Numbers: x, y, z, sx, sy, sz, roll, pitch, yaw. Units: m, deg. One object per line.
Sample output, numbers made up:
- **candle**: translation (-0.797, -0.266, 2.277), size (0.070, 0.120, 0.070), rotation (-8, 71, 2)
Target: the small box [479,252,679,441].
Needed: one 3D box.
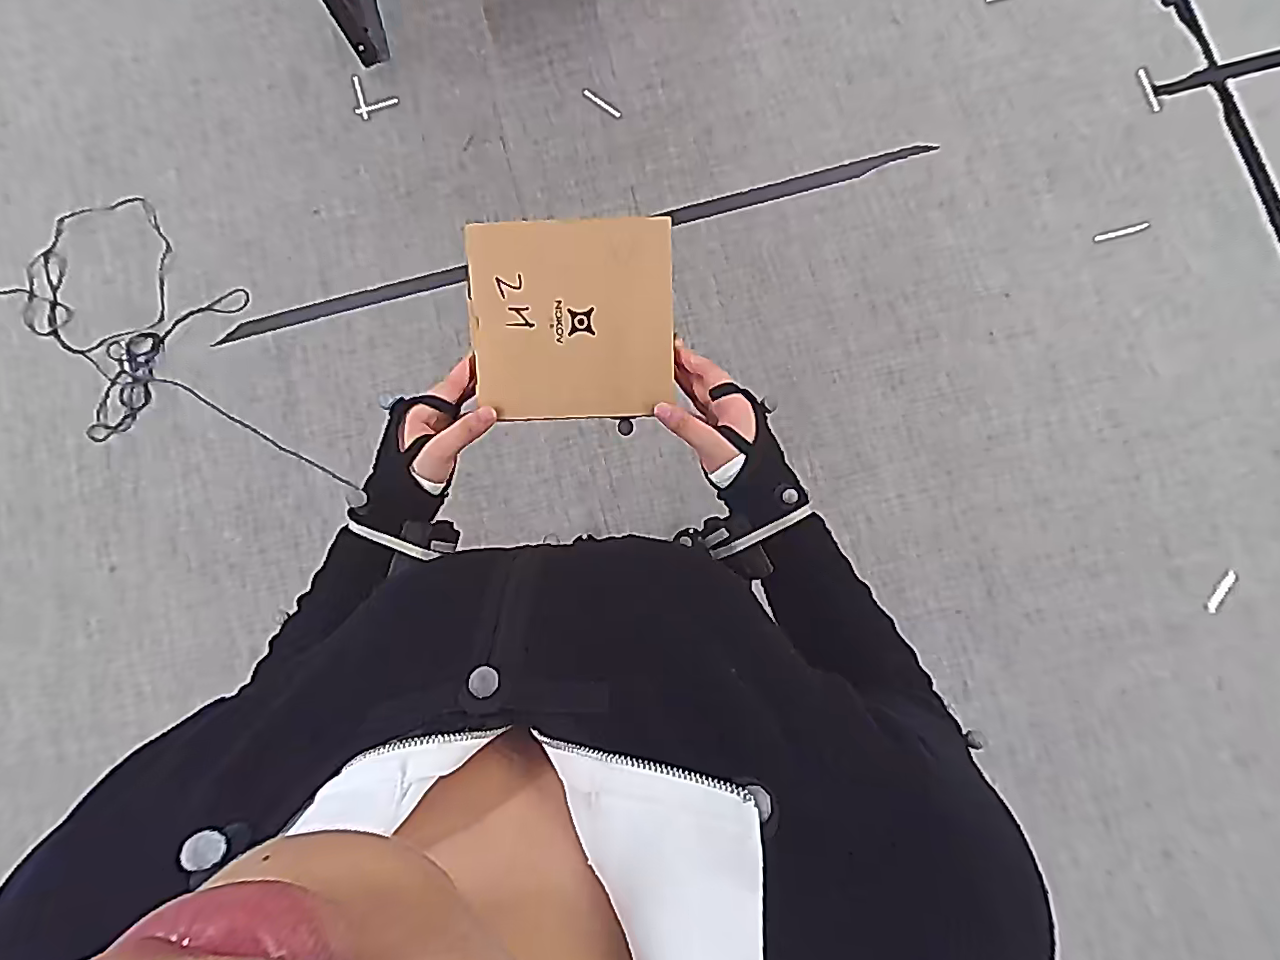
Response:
- **small box**: translation (-0.053, -0.127, 0.559), size (0.179, 0.176, 0.168), rotation (-1, 96, 1)
